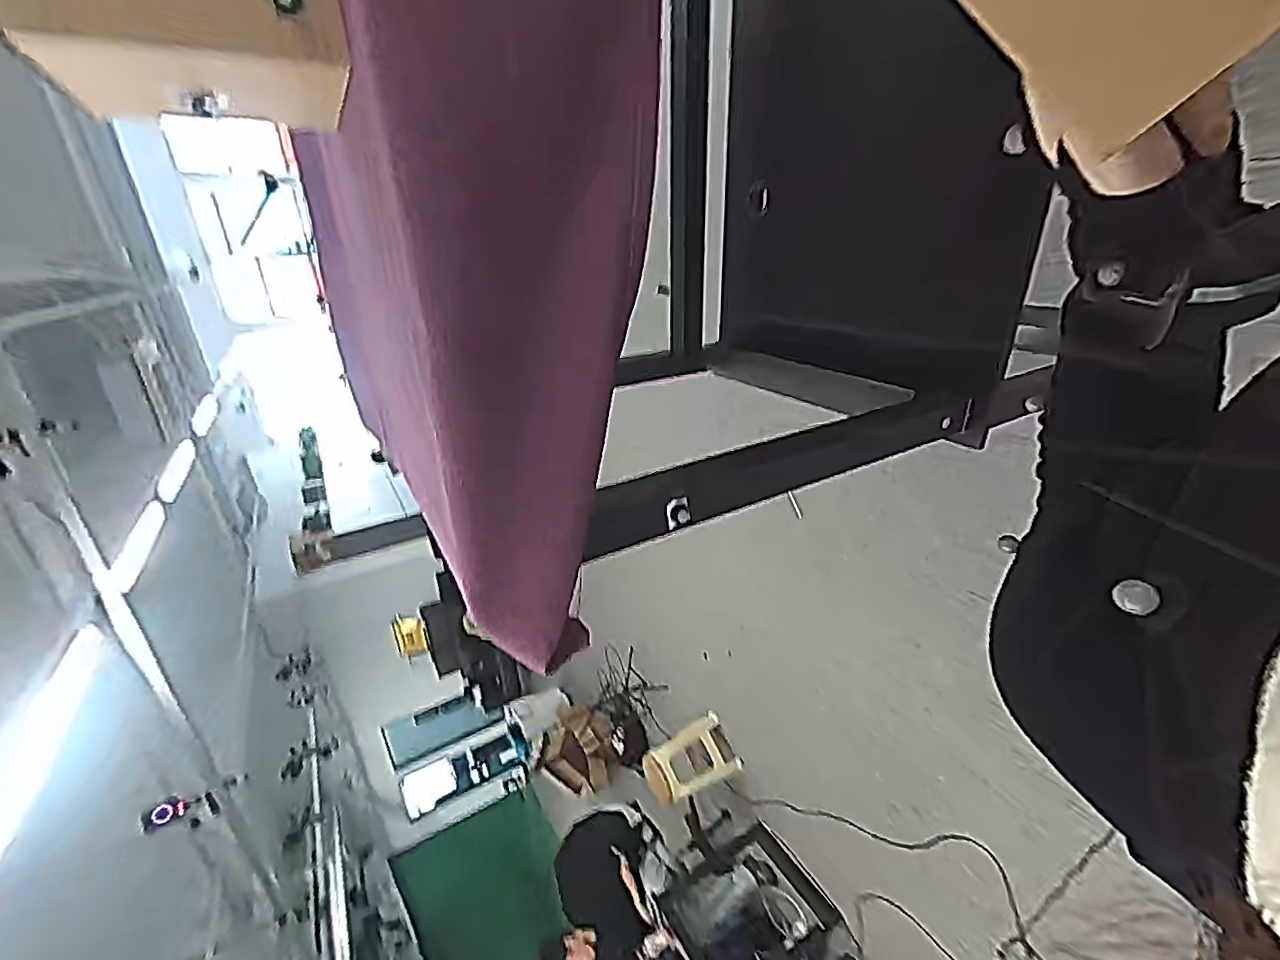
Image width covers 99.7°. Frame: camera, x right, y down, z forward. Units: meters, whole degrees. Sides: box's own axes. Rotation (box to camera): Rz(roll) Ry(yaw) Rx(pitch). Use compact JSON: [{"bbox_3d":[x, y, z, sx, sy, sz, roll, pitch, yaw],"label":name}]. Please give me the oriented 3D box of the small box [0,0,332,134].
[{"bbox_3d":[-0.312,-0.338,0.348,0.179,0.176,0.168,30,129,55],"label":"small box"}]
